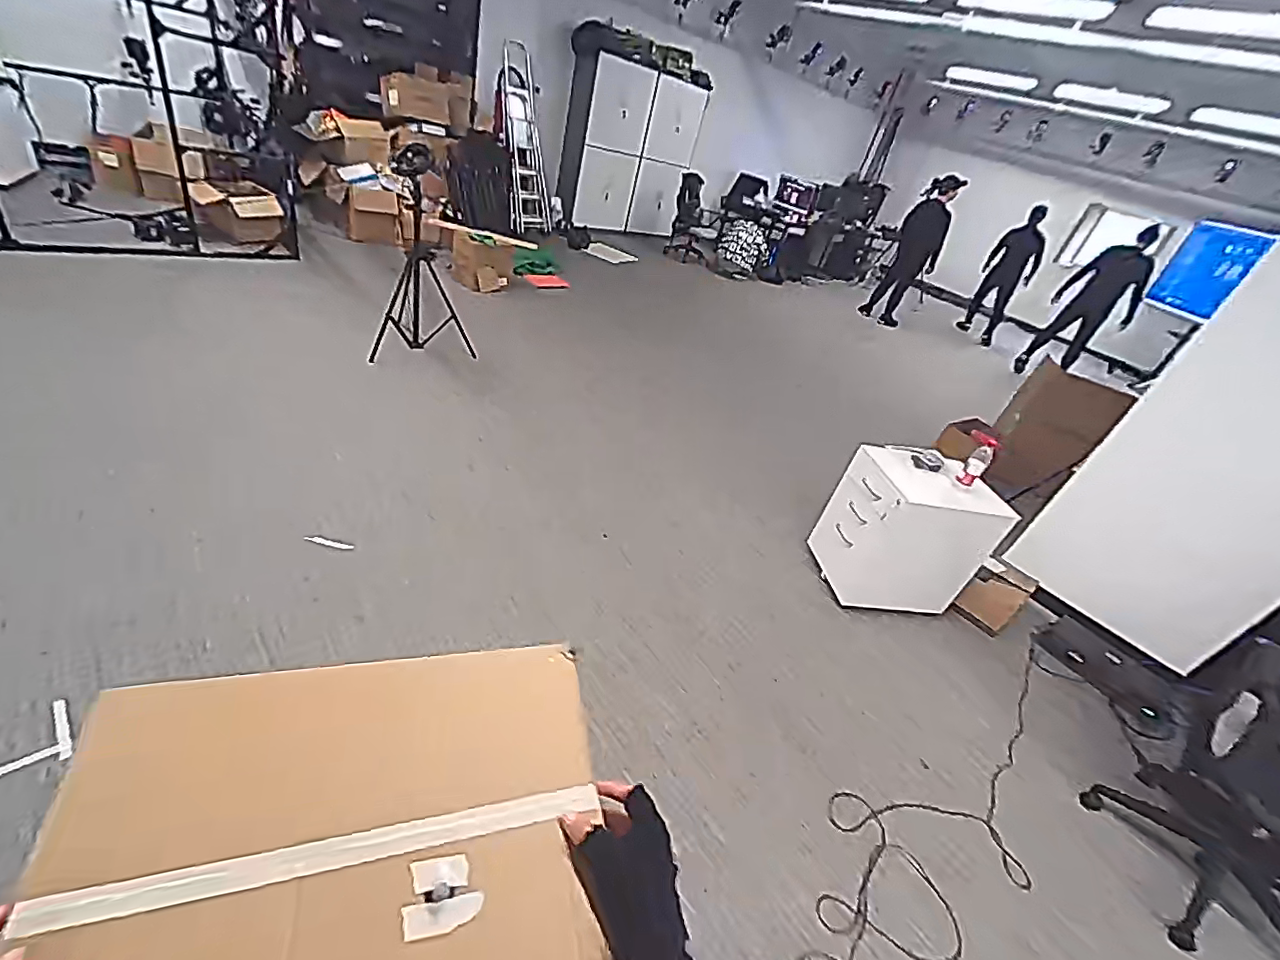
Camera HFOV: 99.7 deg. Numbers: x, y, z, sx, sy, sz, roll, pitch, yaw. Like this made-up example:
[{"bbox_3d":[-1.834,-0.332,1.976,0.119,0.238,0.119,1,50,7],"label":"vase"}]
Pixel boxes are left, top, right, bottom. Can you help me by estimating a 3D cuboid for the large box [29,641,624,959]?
[{"bbox_3d":[-0.274,0.398,0.553,0.408,0.320,0.320,1,48,-22],"label":"large box"}]
